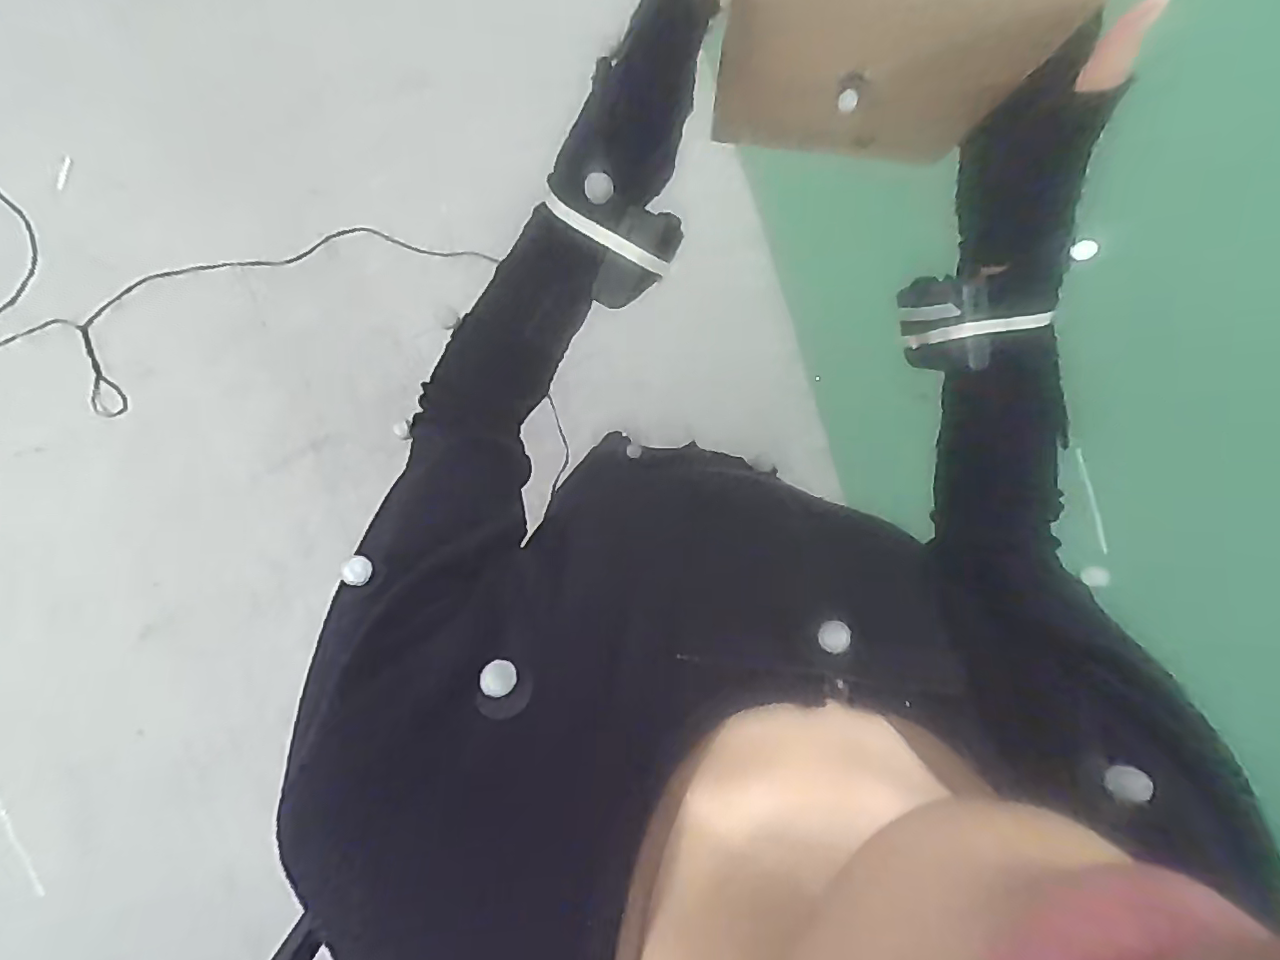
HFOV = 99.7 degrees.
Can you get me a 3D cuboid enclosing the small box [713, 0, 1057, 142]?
[{"bbox_3d":[0.135,-0.319,0.295,0.168,0.176,0.179,7,96,2],"label":"small box"}]
